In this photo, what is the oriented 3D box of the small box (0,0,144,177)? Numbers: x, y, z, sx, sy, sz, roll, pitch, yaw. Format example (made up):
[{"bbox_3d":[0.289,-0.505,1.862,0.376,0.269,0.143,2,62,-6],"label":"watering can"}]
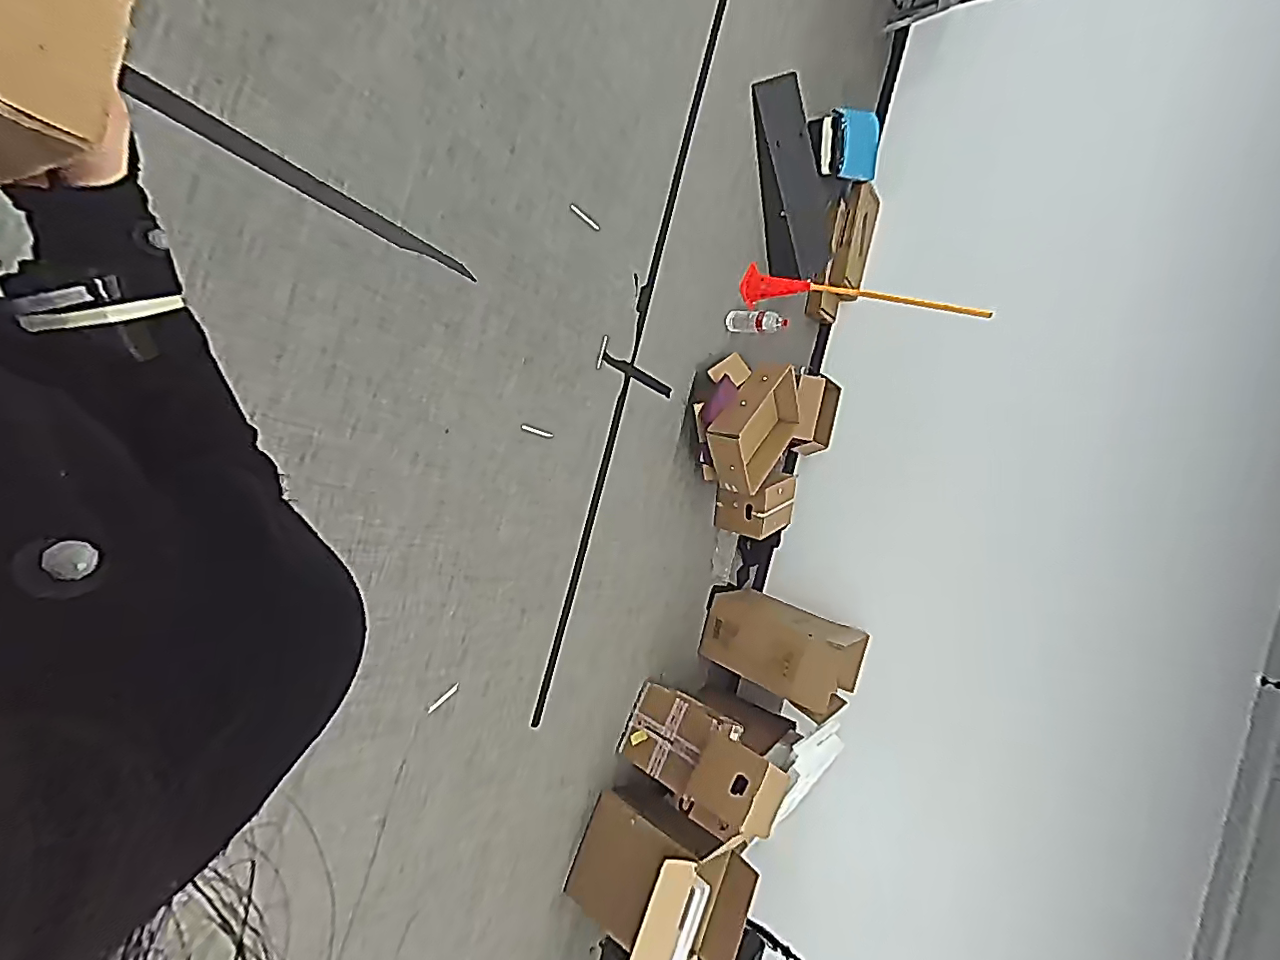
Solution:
[{"bbox_3d":[-0.327,-0.249,0.211,0.168,0.176,0.179,16,84,-62],"label":"small box"}]
